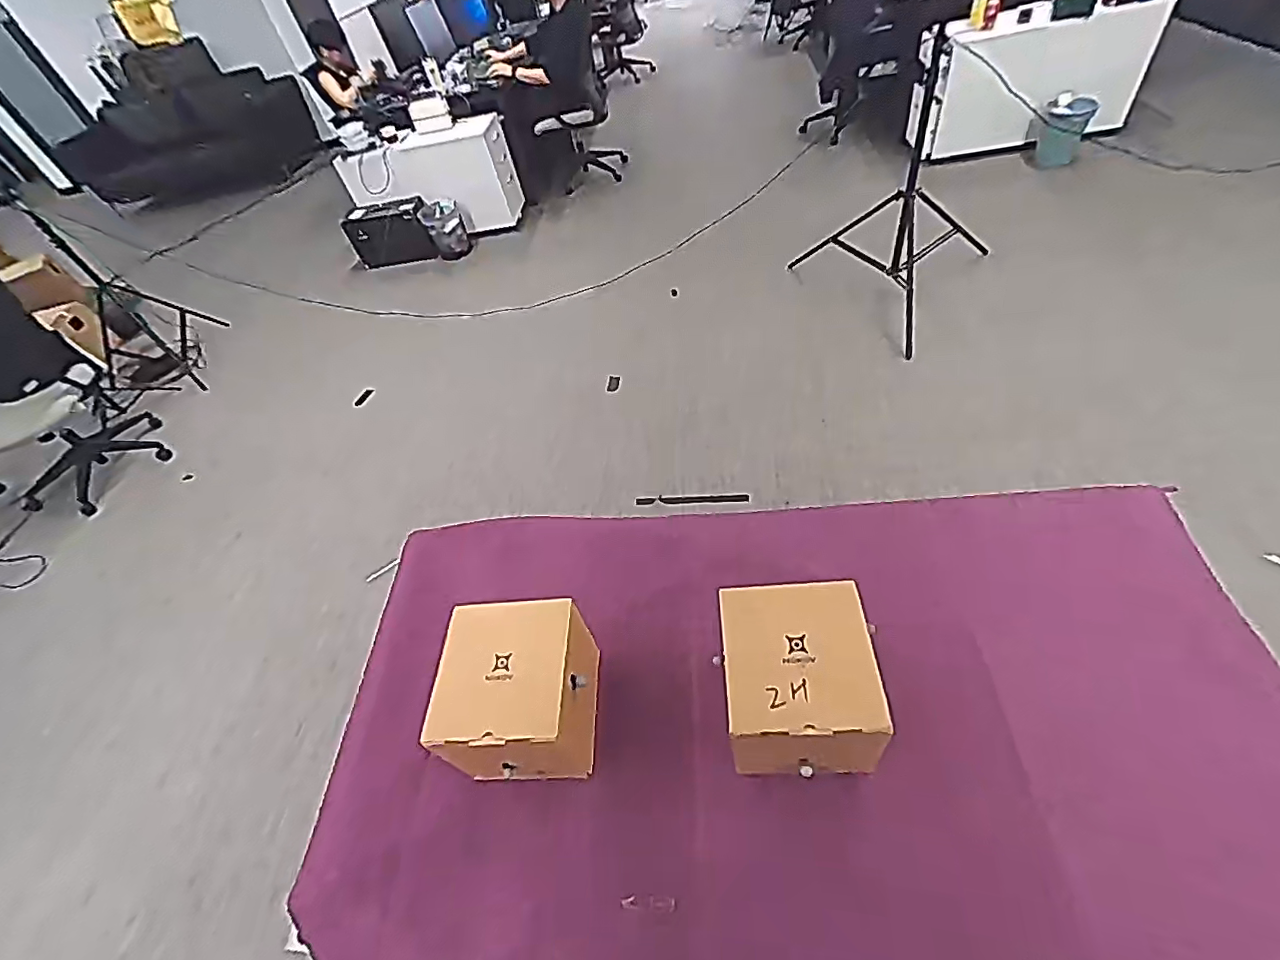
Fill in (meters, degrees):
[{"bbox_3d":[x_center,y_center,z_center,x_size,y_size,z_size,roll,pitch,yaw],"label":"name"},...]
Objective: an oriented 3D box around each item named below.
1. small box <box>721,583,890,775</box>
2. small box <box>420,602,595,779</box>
[{"bbox_3d":[0.189,0.248,0.670,0.168,0.176,0.179,-6,49,9],"label":"small box"},{"bbox_3d":[-0.159,0.282,0.722,0.168,0.176,0.179,-5,50,7],"label":"small box"}]
